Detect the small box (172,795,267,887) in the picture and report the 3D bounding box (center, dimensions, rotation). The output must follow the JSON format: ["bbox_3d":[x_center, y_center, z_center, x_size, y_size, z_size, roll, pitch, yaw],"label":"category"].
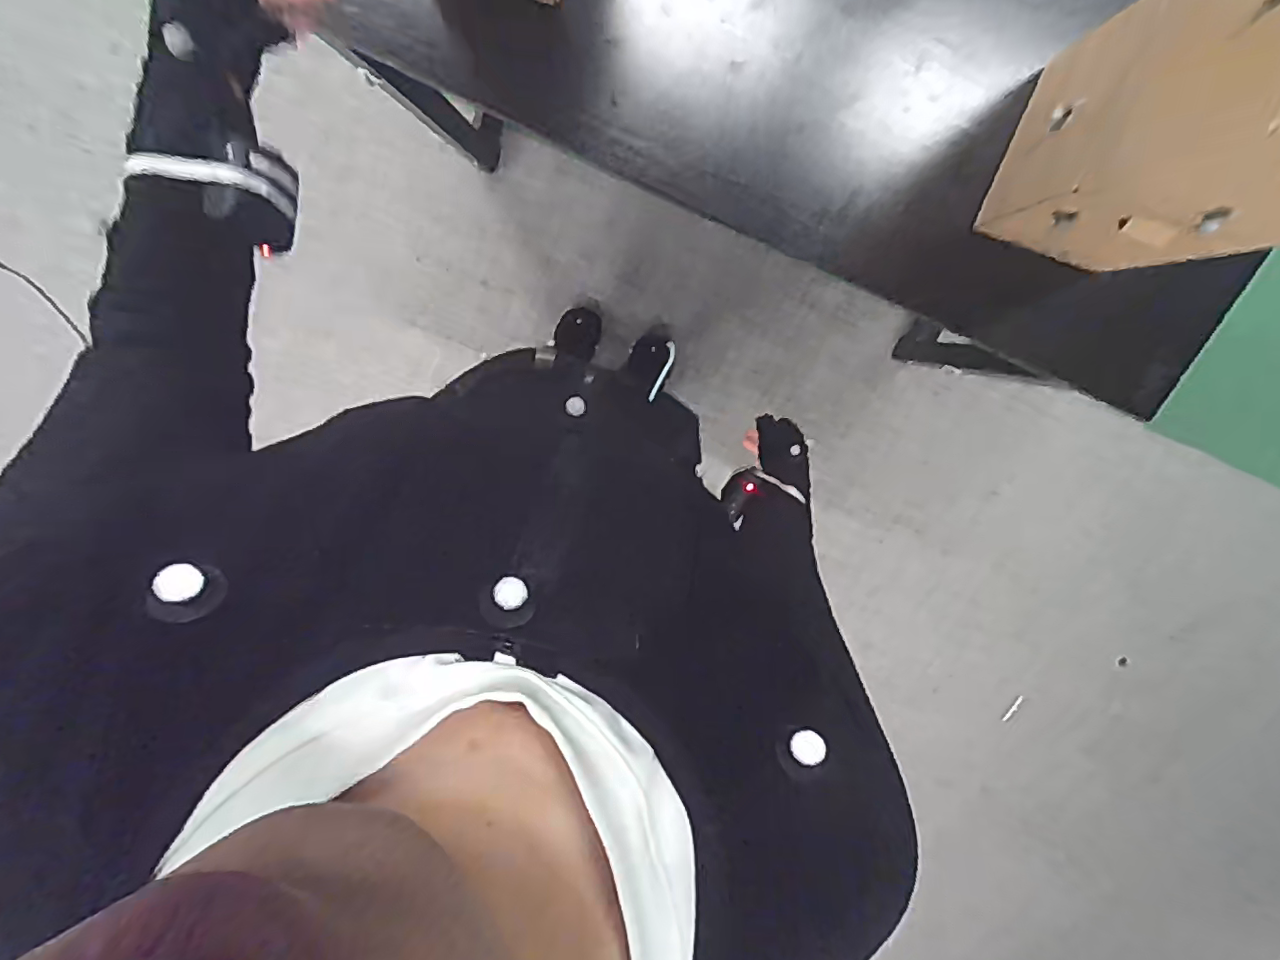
[{"bbox_3d":[-1.394,1.194,1.802,0.179,0.176,0.168,25,105,-5],"label":"small box"}]

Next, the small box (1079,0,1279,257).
[{"bbox_3d":[0.481,-0.282,0.390,0.168,0.176,0.179,16,105,-2],"label":"small box"}]
